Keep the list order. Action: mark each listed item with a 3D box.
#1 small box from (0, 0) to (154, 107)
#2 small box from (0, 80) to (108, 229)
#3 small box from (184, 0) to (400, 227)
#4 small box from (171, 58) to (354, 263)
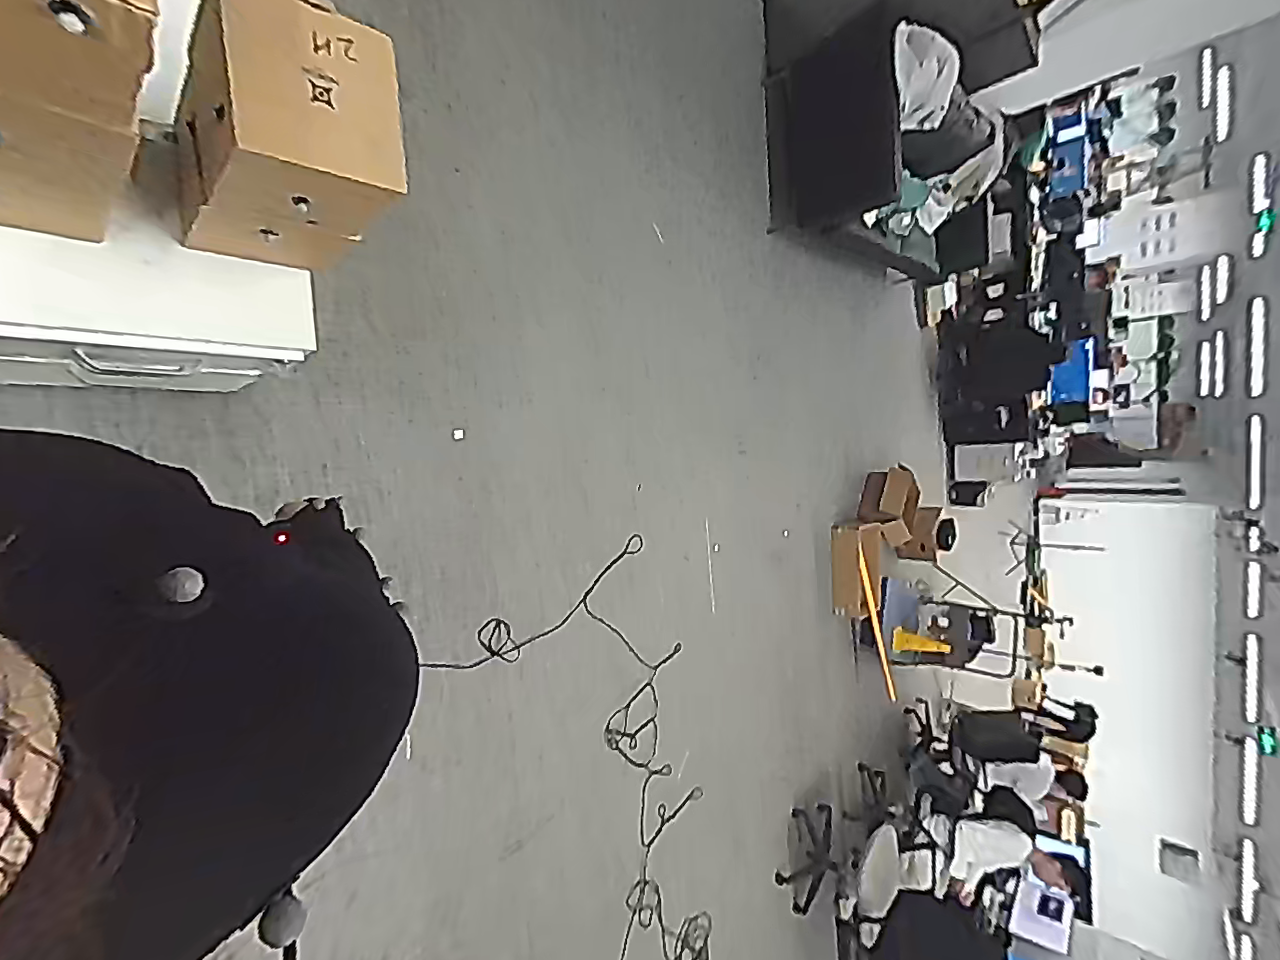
[{"bbox_3d":[-0.436,-0.380,0.338,0.179,0.176,0.168,-6,94,-49],"label":"small box"},{"bbox_3d":[-0.681,-0.381,0.555,0.179,0.176,0.168,-6,95,-49],"label":"small box"},{"bbox_3d":[-0.400,-0.416,0.622,0.168,0.176,0.179,-9,97,-47],"label":"small box"},{"bbox_3d":[-0.517,-0.414,0.738,0.179,0.176,0.168,-6,95,-47],"label":"small box"}]
